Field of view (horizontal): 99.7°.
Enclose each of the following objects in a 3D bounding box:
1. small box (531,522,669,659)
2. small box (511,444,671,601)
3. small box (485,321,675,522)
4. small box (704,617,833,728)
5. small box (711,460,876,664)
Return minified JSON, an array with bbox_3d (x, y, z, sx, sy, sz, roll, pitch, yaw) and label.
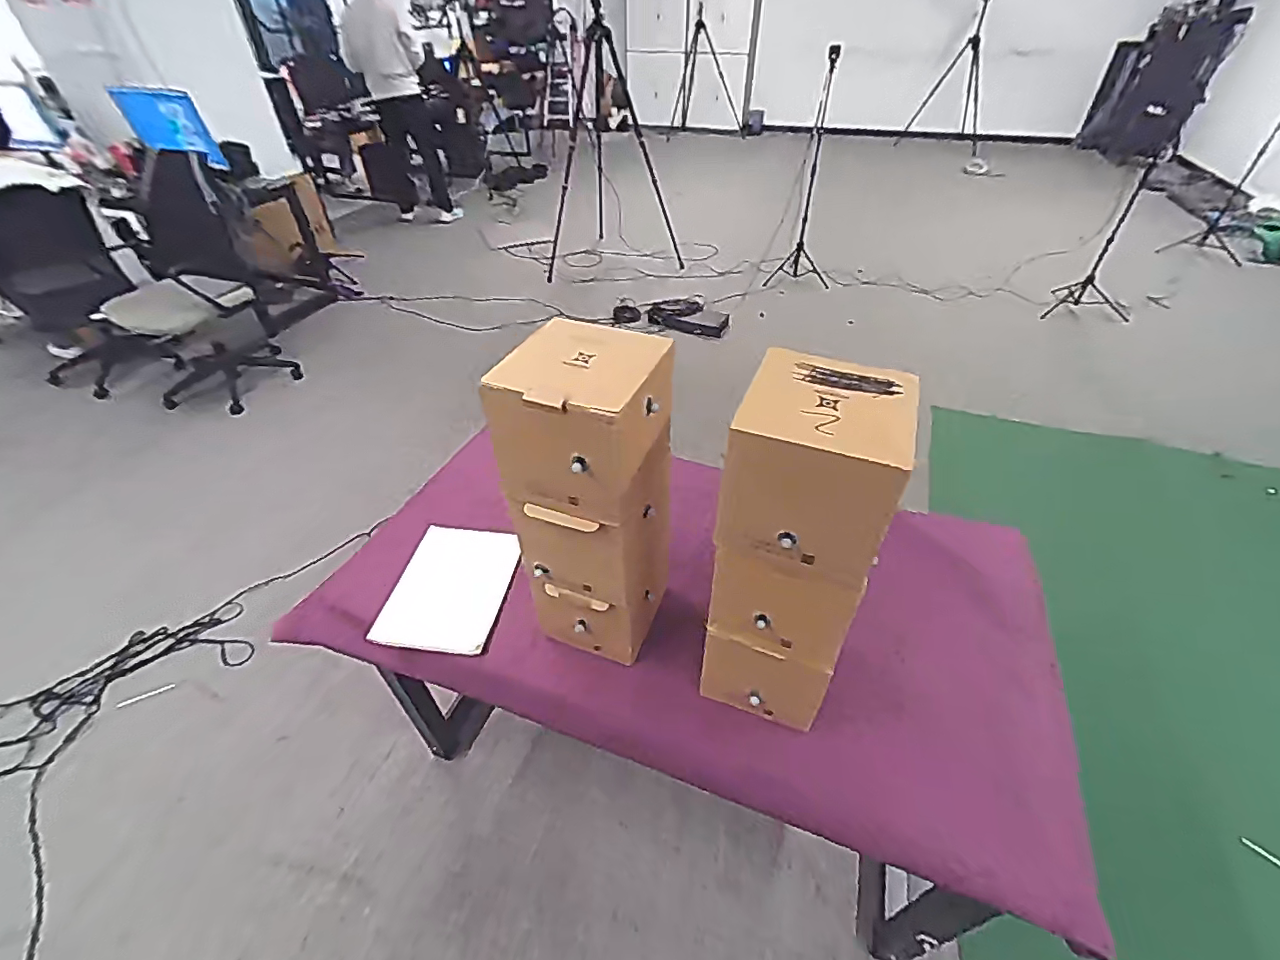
[{"bbox_3d":[-0.056,0.165,0.898,0.168,0.176,0.179,15,44,16],"label":"small box"},{"bbox_3d":[-0.060,0.045,0.785,0.168,0.176,0.179,15,43,17],"label":"small box"},{"bbox_3d":[-0.062,-0.074,0.674,0.168,0.176,0.179,16,43,17],"label":"small box"},{"bbox_3d":[0.198,0.233,0.816,0.168,0.176,0.179,14,43,17],"label":"small box"},{"bbox_3d":[0.197,0.106,0.715,0.168,0.176,0.179,15,43,17],"label":"small box"}]
